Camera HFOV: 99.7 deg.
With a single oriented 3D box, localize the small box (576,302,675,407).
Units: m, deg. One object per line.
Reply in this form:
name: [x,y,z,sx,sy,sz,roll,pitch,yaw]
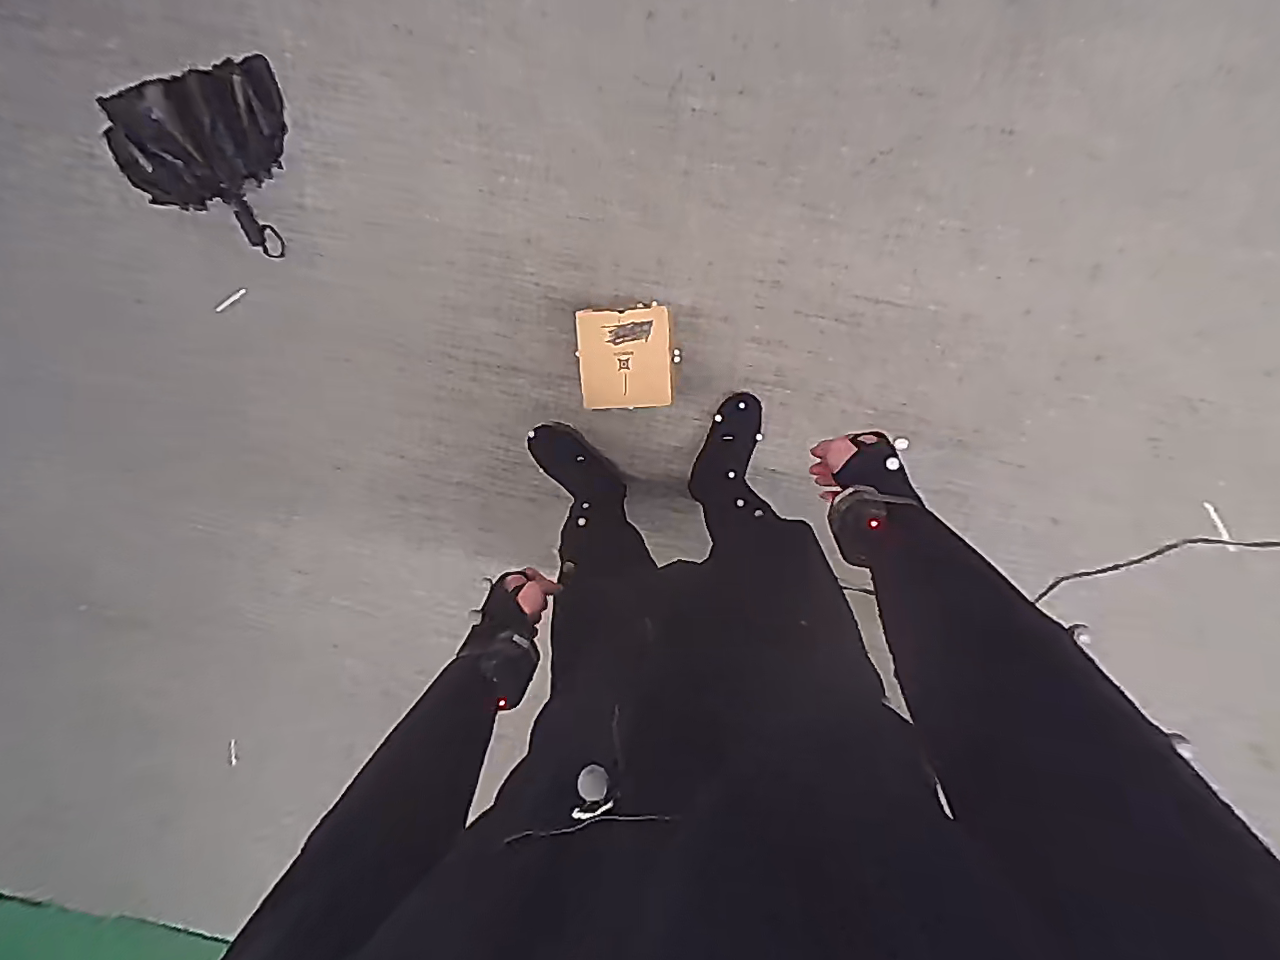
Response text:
small box: [-0.021,-0.241,1.034,0.168,0.176,0.179,-2,107,7]
